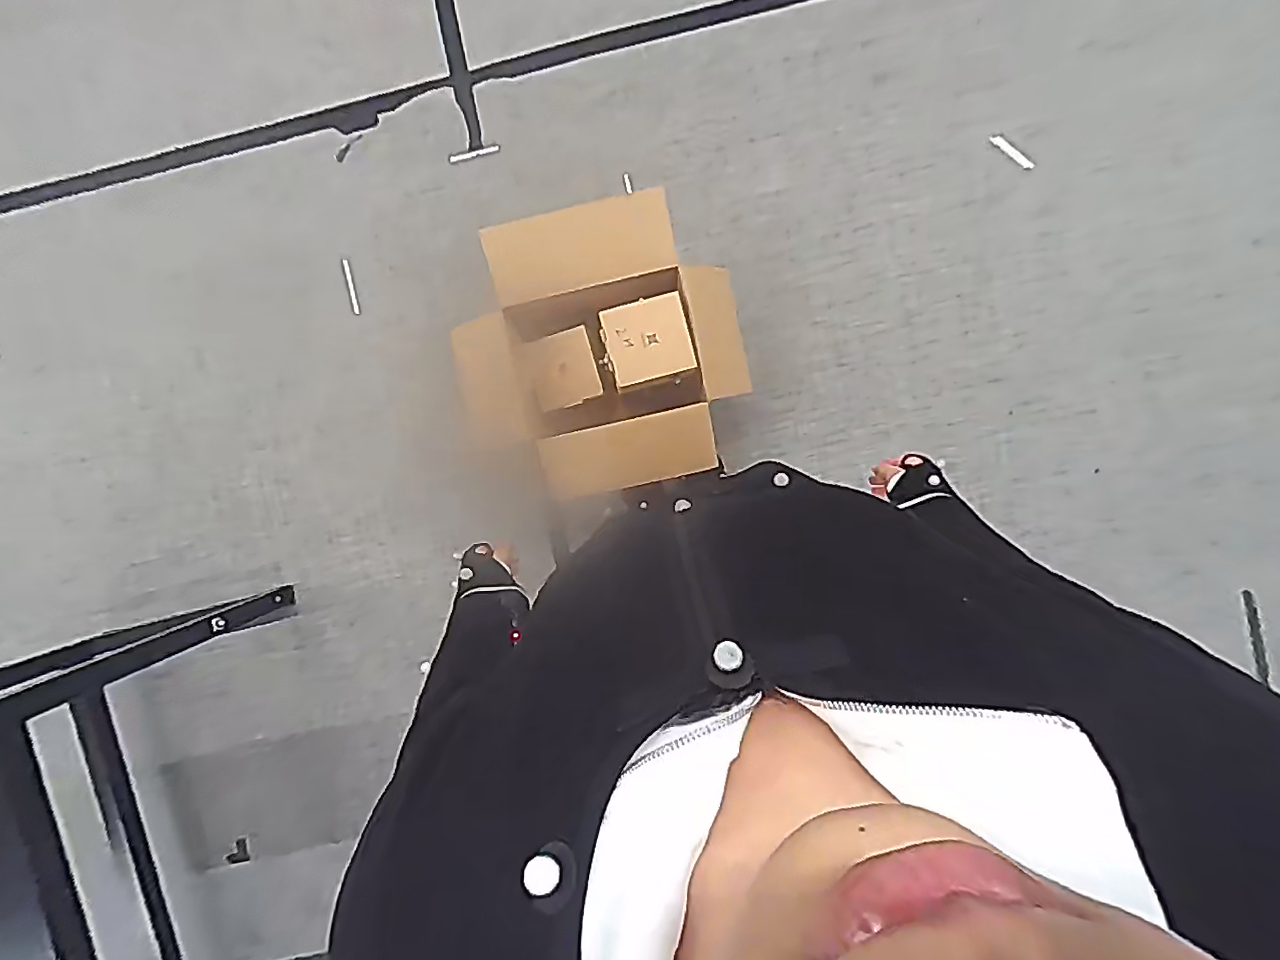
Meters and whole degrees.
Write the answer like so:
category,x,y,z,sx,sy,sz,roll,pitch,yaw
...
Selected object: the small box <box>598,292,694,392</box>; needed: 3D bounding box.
category,x,y,z,sx,sy,sz,roll,pitch,yaw
small box,0.011,-0.304,1.221,0.179,0.176,0.168,-15,93,1
